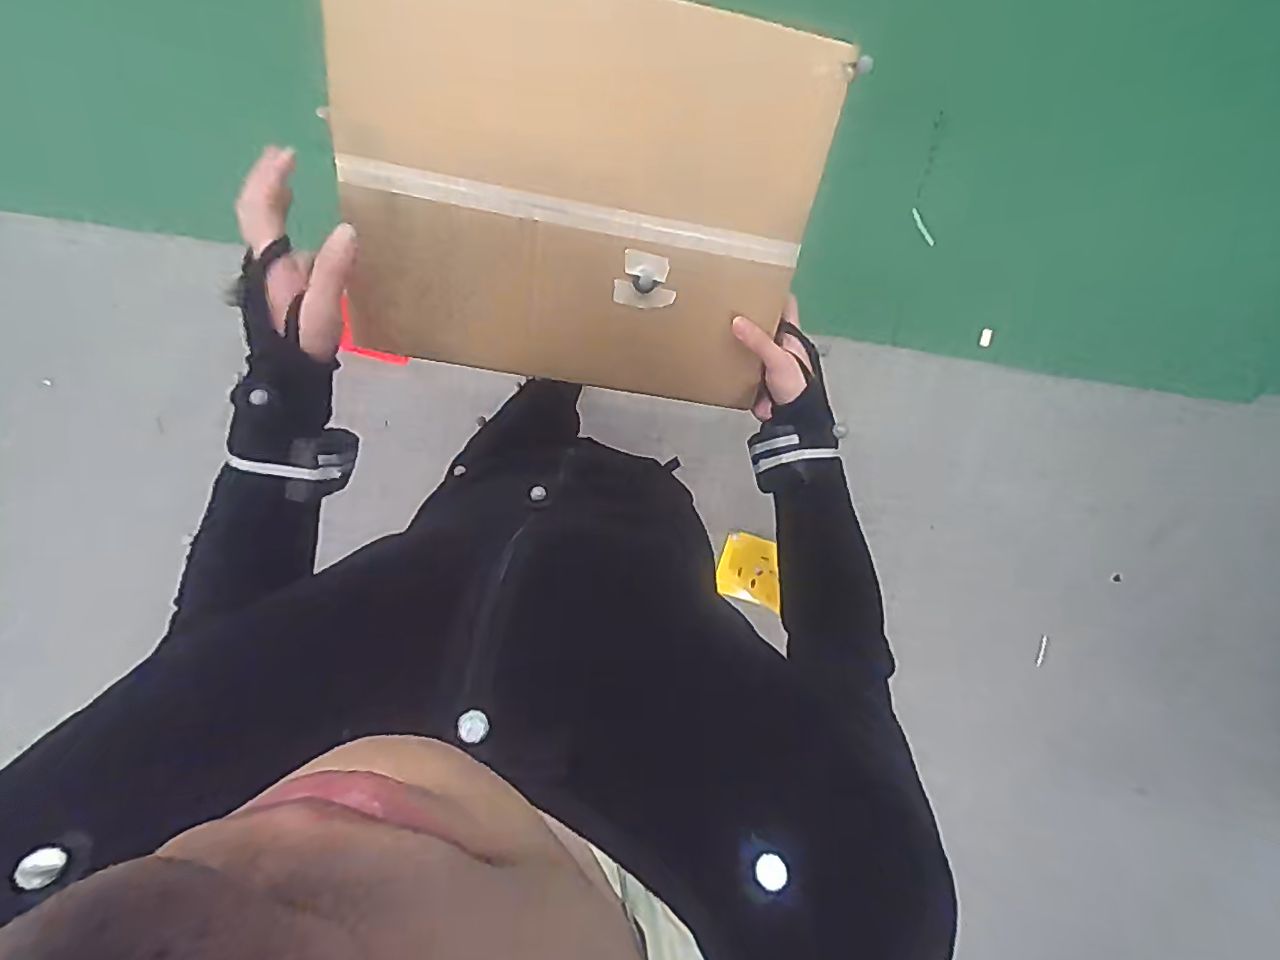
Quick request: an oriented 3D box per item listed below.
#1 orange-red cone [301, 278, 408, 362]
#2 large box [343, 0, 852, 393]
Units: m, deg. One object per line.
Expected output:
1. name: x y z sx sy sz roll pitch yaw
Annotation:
1. orange-red cone: -0.721 -0.421 1.333 0.199 0.360 0.198 15 96 -4
2. large box: -0.057 -0.319 0.612 0.408 0.320 0.320 7 120 -9
